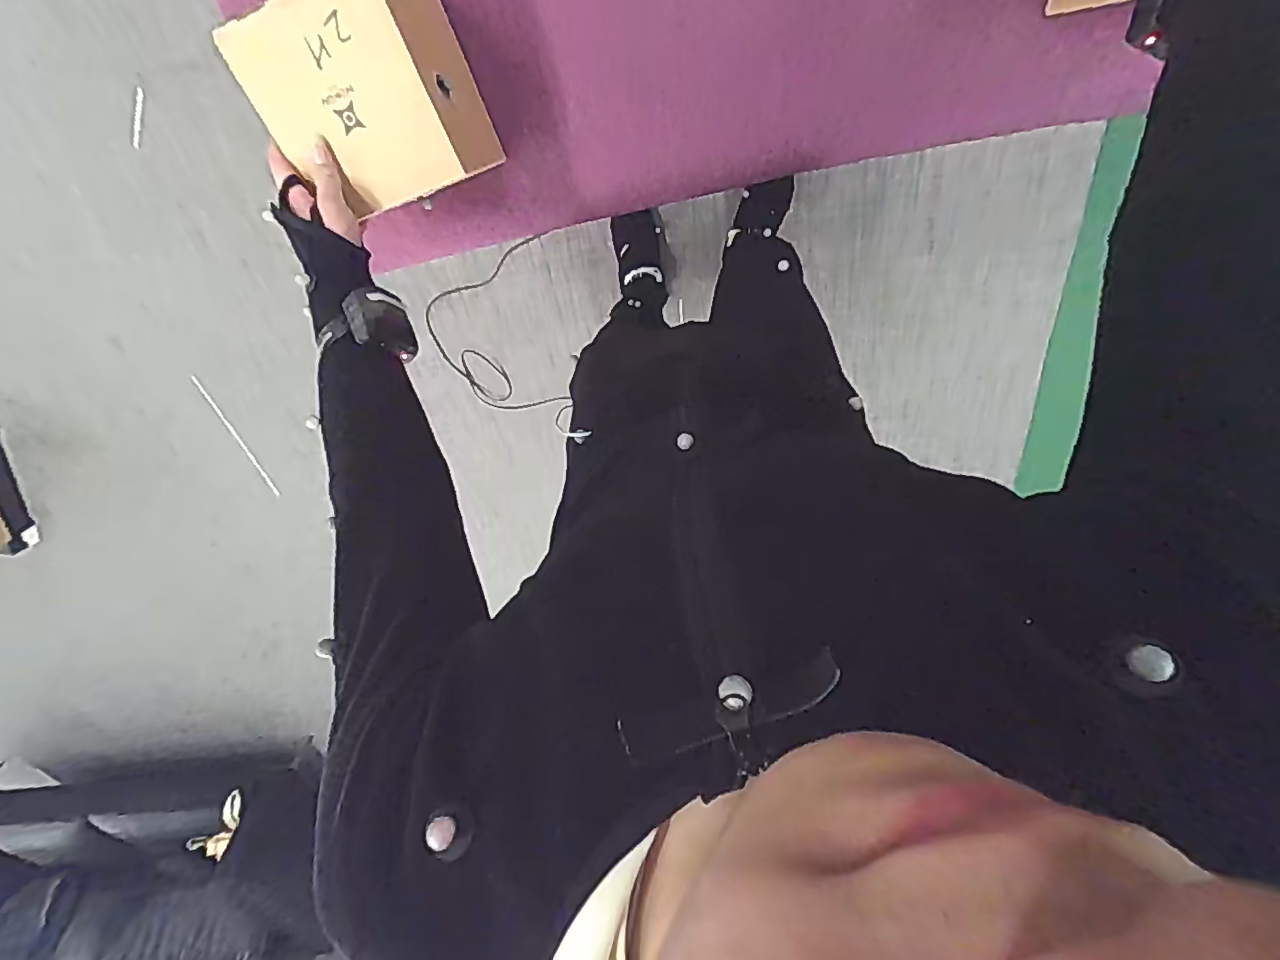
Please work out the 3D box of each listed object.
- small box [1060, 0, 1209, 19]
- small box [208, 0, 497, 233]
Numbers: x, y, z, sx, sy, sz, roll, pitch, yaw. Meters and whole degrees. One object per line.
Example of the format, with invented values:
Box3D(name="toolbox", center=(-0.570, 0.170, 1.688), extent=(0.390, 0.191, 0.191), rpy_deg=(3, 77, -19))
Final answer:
Box3D(name="small box", center=(0.493, -0.509, 0.447), extent=(0.168, 0.176, 0.179), rpy_deg=(-5, 124, 6))
Box3D(name="small box", center=(-0.273, -0.390, 0.567), extent=(0.168, 0.176, 0.179), rpy_deg=(-14, 124, 12))
